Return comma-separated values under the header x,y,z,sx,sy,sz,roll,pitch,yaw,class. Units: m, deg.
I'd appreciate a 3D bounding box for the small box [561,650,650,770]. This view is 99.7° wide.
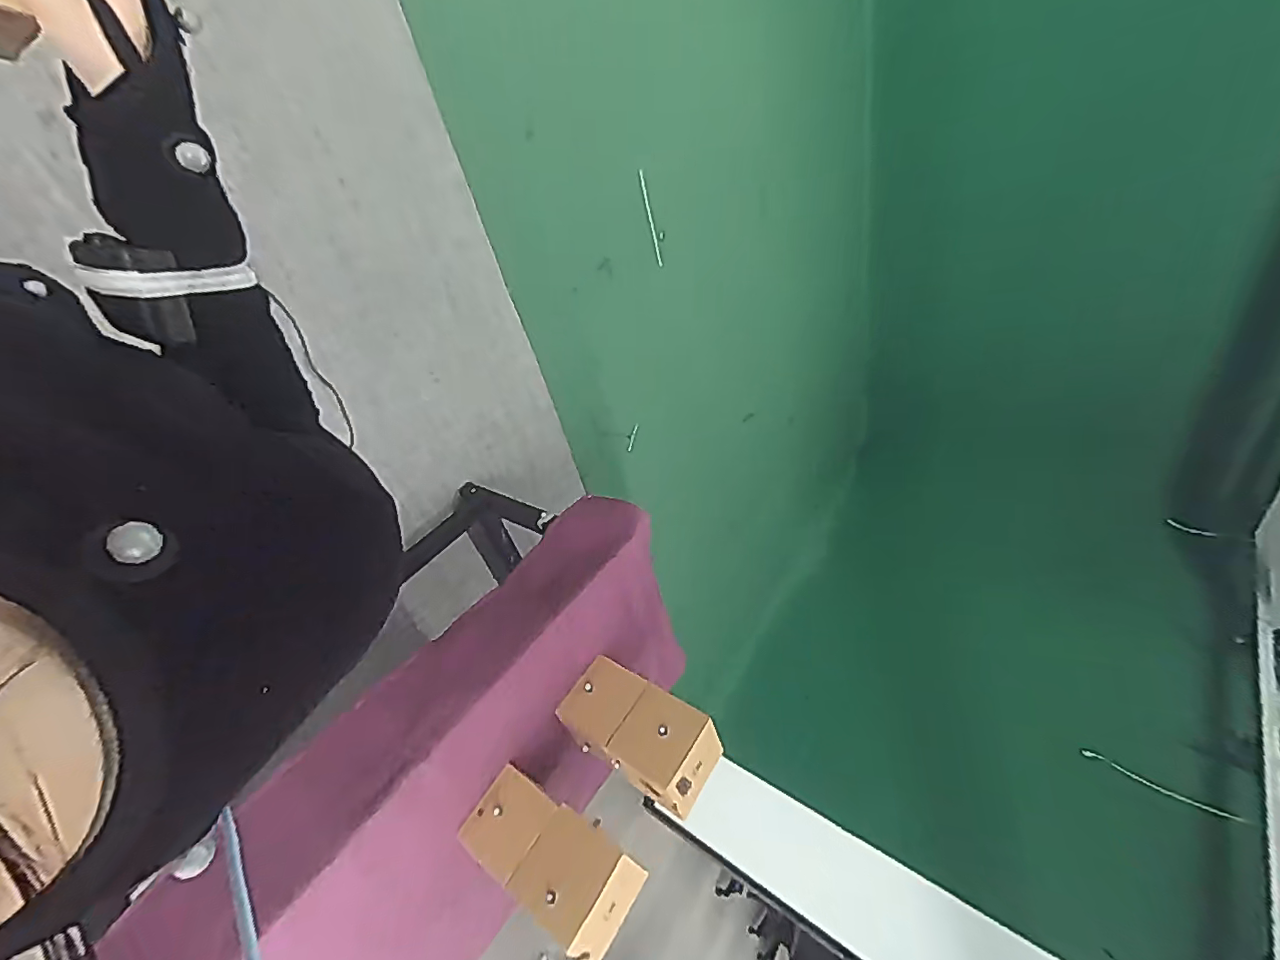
x,y,z,sx,sy,sz,roll,pitch,yaw,class
-0.071,0.555,1.319,0.179,0.176,0.168,-46,135,-30,small box

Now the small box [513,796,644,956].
x,y,z,sx,sy,sz,roll,pitch,yaw,class
-0.125,0.775,1.067,0.179,0.176,0.168,-50,137,-28,small box

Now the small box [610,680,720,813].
x,y,z,sx,sy,sz,roll,pitch,yaw,class
0.053,0.593,1.218,0.179,0.176,0.168,-47,135,-31,small box

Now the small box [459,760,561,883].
x,y,z,sx,sy,sz,roll,pitch,yaw,class
-0.250,0.742,1.168,0.168,0.176,0.179,-51,136,-27,small box
